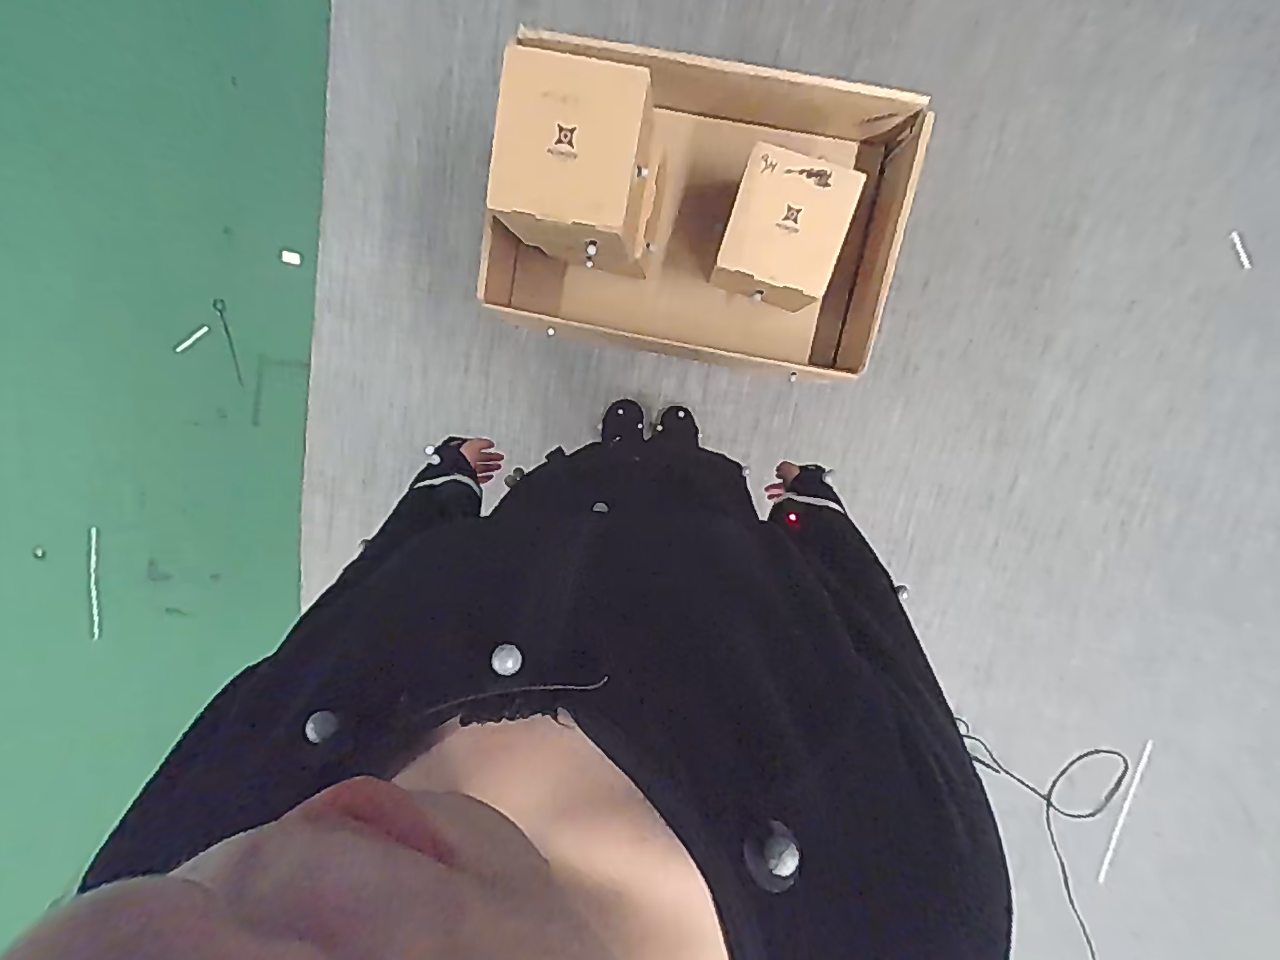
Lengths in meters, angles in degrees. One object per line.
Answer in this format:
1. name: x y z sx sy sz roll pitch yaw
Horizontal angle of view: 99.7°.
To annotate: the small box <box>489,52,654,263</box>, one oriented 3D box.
1. small box: -0.078 -0.398 0.701 0.168 0.176 0.179 12 100 2
